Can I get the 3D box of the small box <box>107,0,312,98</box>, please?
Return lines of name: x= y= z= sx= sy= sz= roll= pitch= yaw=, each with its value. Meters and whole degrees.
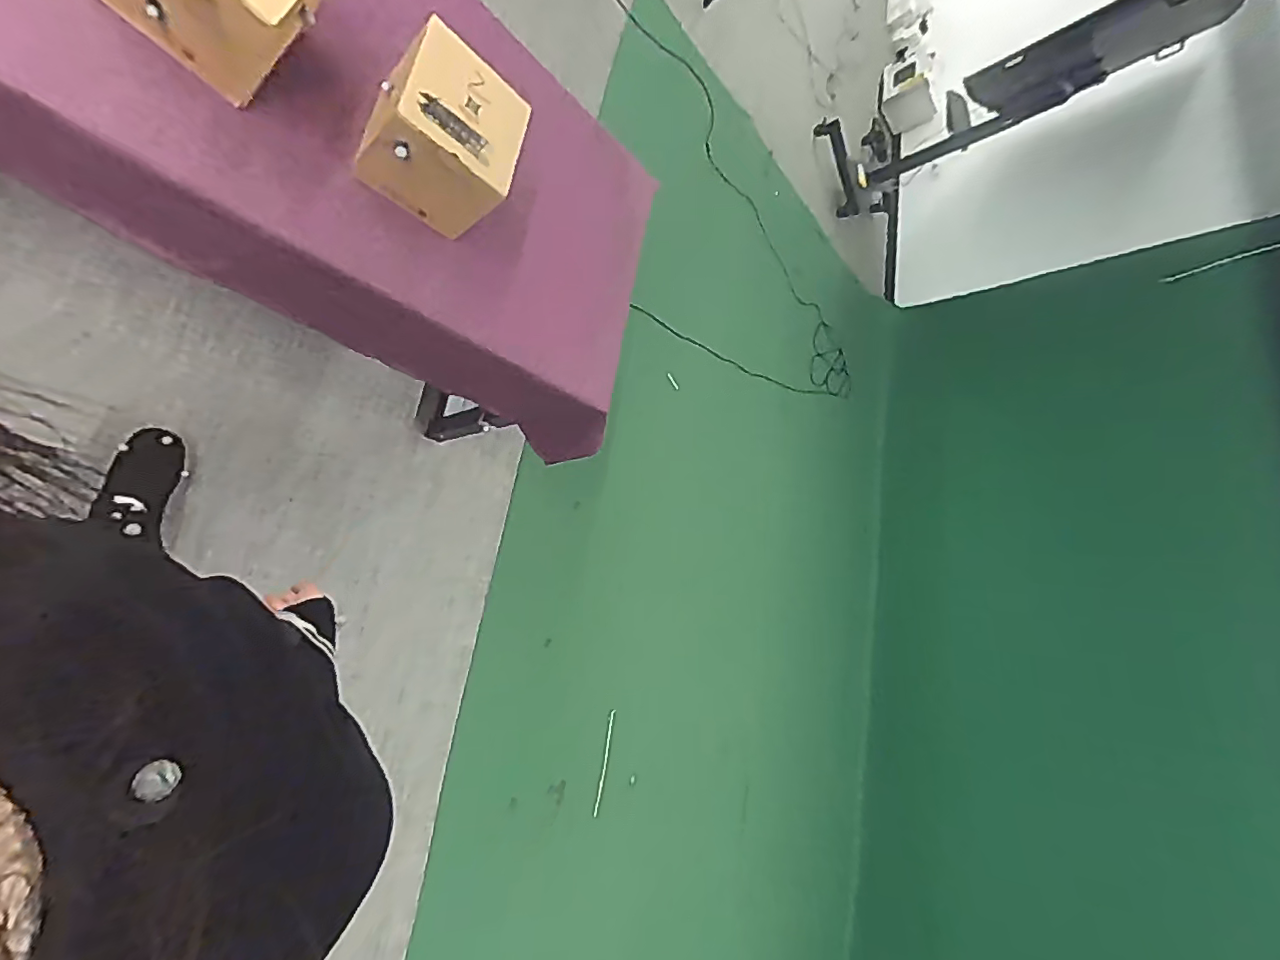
small box: x=-0.491 y=-0.603 z=0.623 sx=0.168 sy=0.176 sz=0.179 roll=34 pitch=64 yaw=-40
